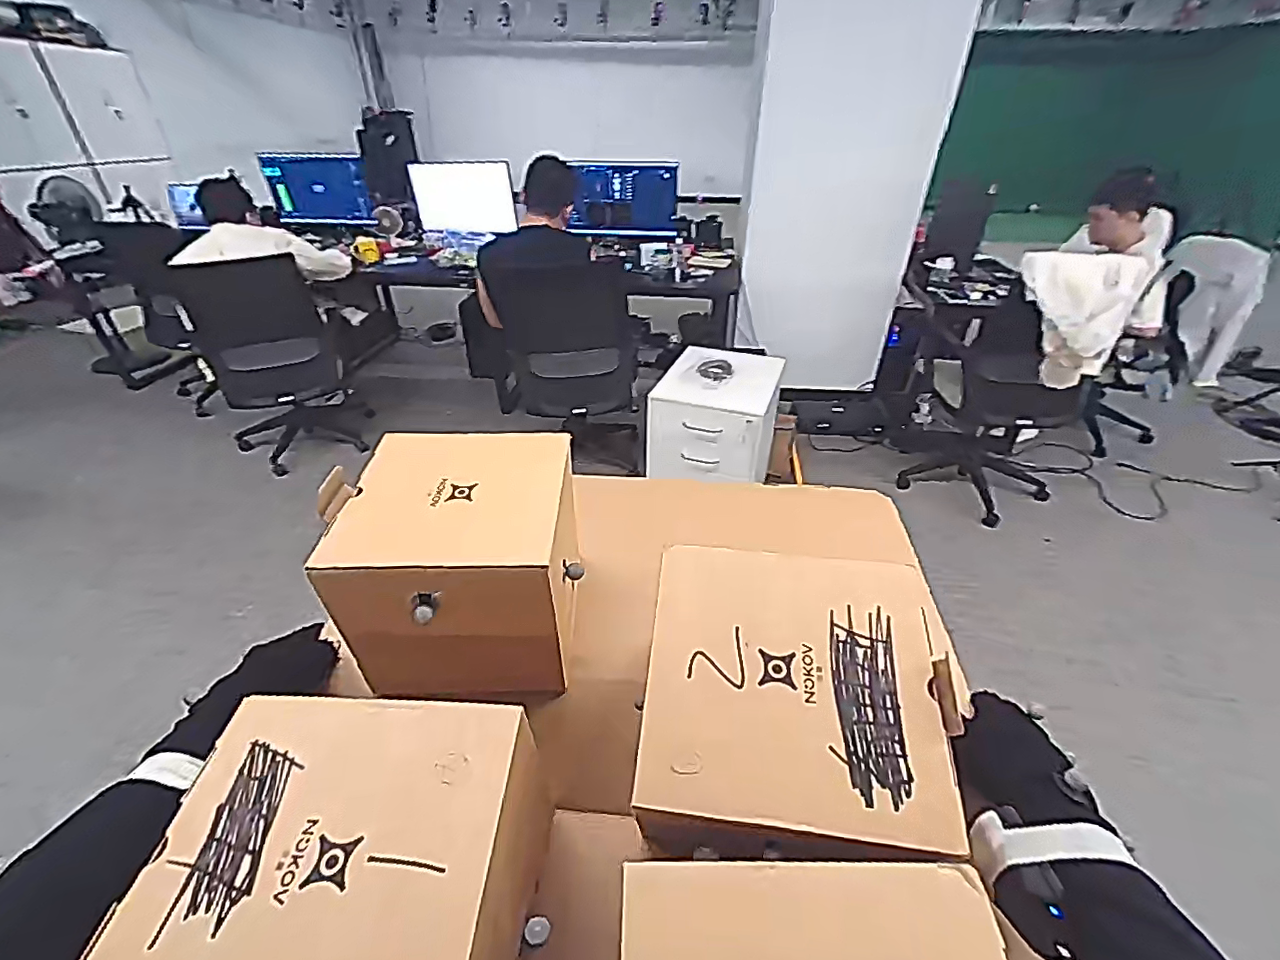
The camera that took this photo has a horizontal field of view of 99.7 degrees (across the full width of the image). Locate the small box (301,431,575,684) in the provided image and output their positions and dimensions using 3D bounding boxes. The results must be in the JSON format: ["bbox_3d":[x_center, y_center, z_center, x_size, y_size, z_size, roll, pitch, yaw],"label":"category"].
[{"bbox_3d":[-0.157,0.071,0.498,0.179,0.176,0.168,-1,39,0],"label":"small box"}]
